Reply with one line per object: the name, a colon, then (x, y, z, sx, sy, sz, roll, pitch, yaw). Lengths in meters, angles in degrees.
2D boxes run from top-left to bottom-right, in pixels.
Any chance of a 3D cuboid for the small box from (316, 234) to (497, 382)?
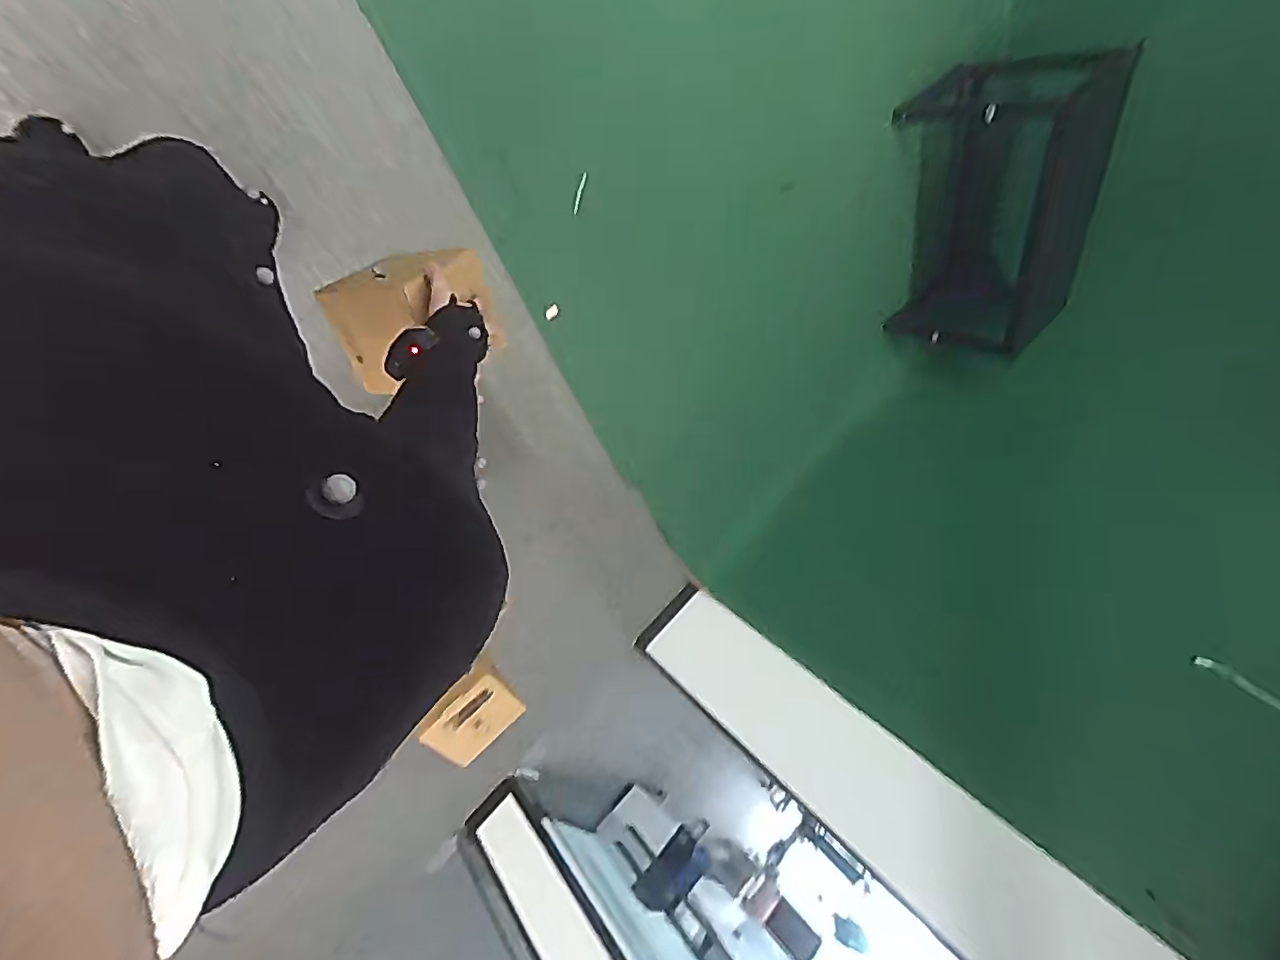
small box: (-0.359, -0.264, 0.837, 0.179, 0.176, 0.168, -62, 150, -44)
